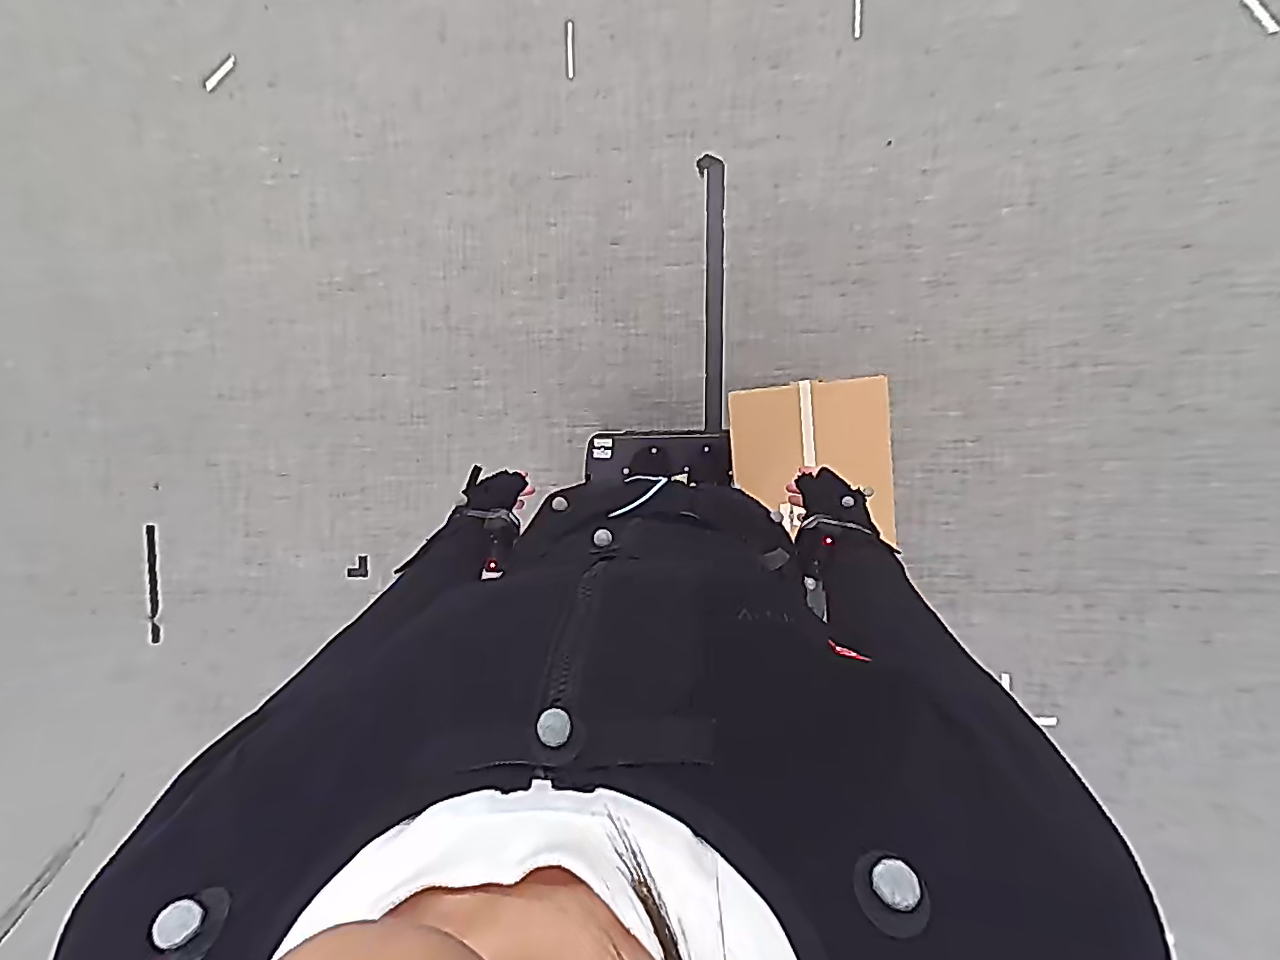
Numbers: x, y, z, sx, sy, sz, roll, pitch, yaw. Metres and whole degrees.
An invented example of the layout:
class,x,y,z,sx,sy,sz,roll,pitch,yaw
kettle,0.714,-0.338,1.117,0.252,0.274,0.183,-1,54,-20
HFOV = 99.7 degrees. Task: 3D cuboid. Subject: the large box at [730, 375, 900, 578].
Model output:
class,x,y,z,sx,sy,sz,roll,pitch,yaw
large box,0.386,-0.016,1.254,0.320,0.320,0.408,-4,95,12
